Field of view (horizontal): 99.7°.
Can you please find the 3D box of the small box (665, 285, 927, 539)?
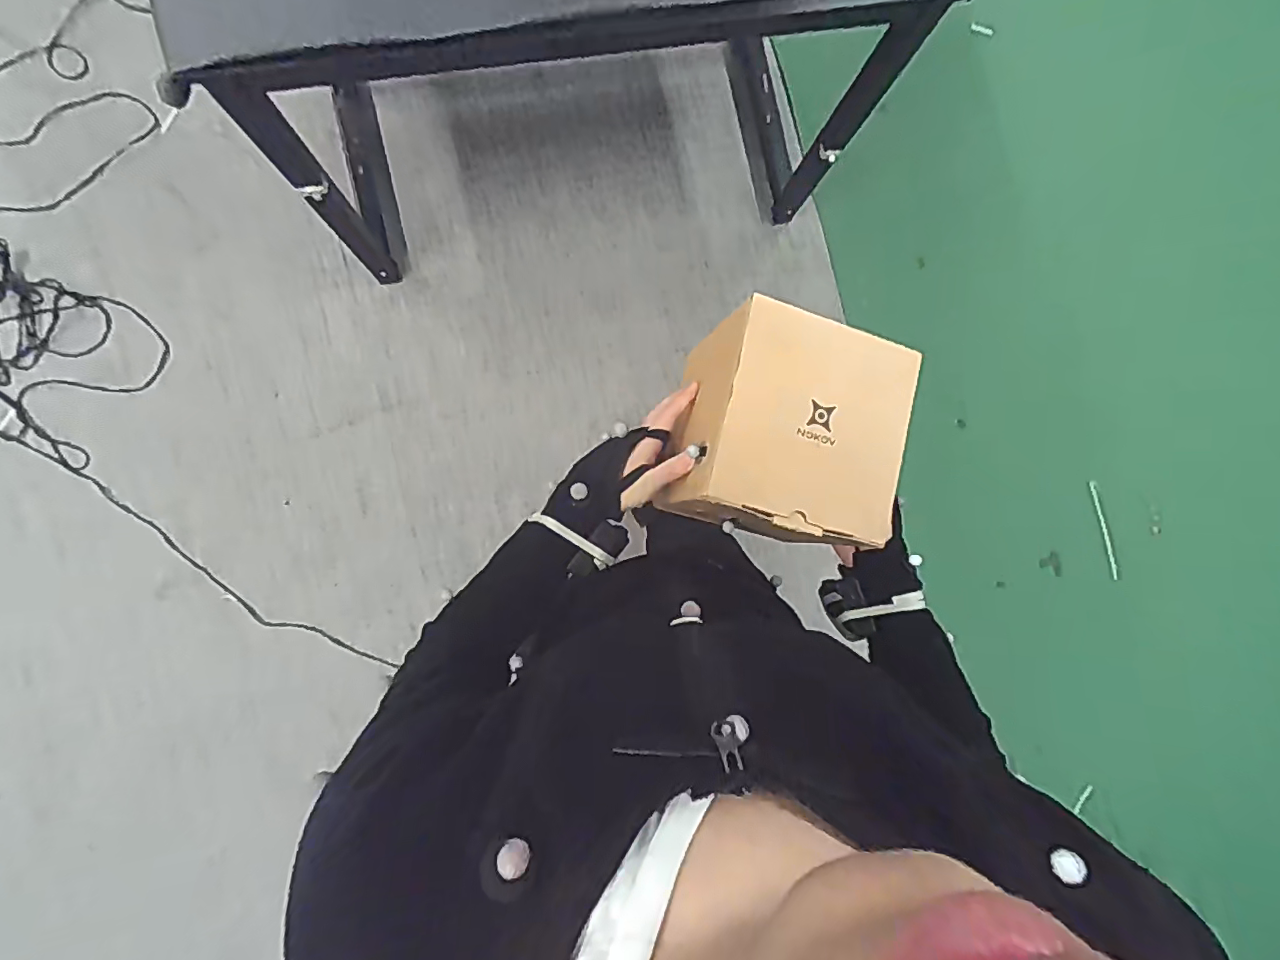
[{"bbox_3d":[0.134,-0.049,0.516,0.168,0.176,0.179,14,83,-11],"label":"small box"}]
